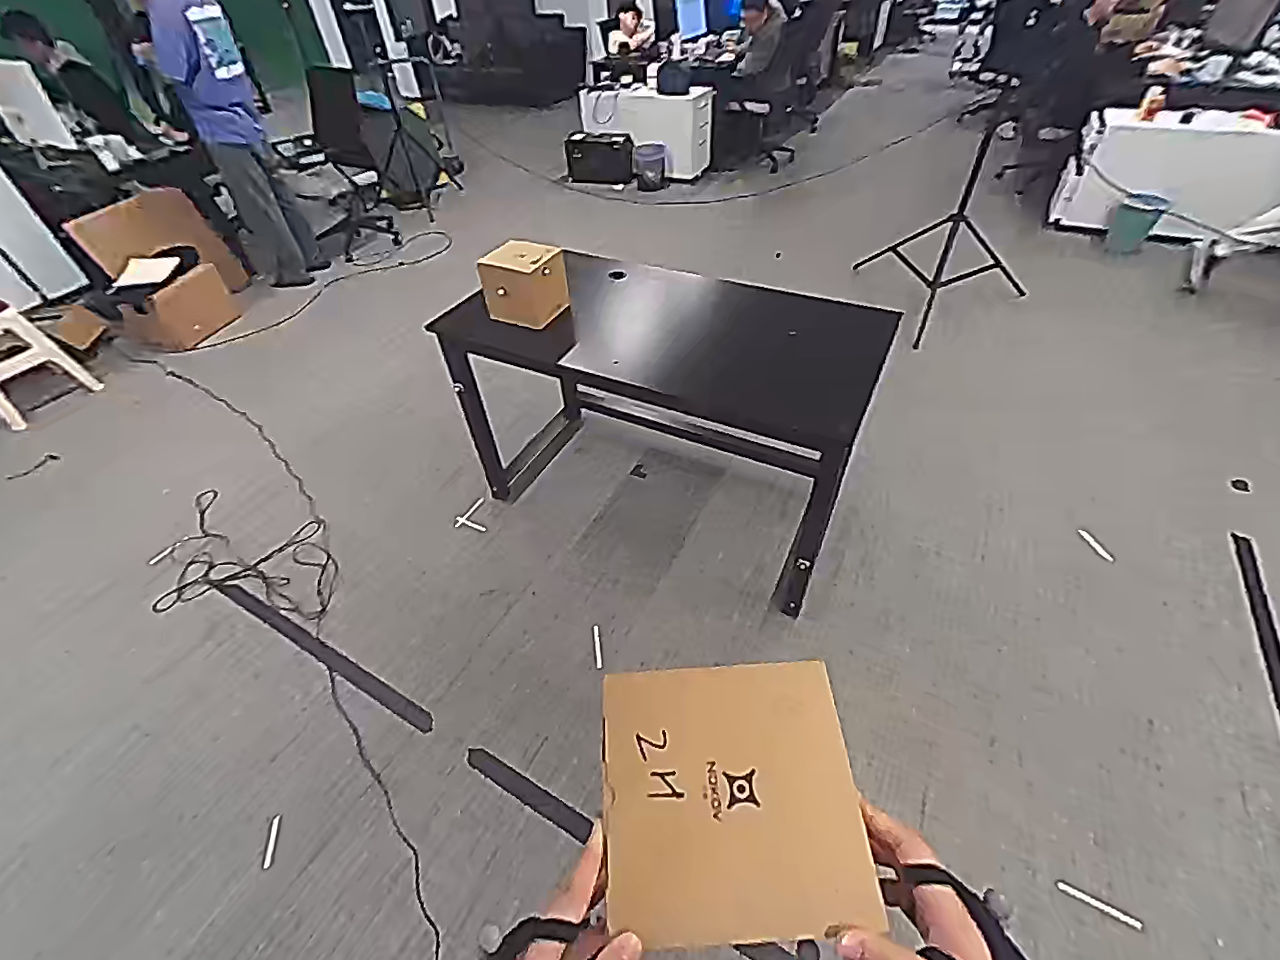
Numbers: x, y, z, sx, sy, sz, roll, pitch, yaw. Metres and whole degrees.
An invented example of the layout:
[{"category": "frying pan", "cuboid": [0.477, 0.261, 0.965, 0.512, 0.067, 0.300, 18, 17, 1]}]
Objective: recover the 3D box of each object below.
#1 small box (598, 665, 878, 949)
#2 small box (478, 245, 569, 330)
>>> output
[{"category": "small box", "cuboid": [0.060, 0.260, 0.441, 0.179, 0.176, 0.168, -4, 54, 0]}, {"category": "small box", "cuboid": [-0.323, -0.544, 1.532, 0.179, 0.176, 0.168, 17, 49, 20]}]
